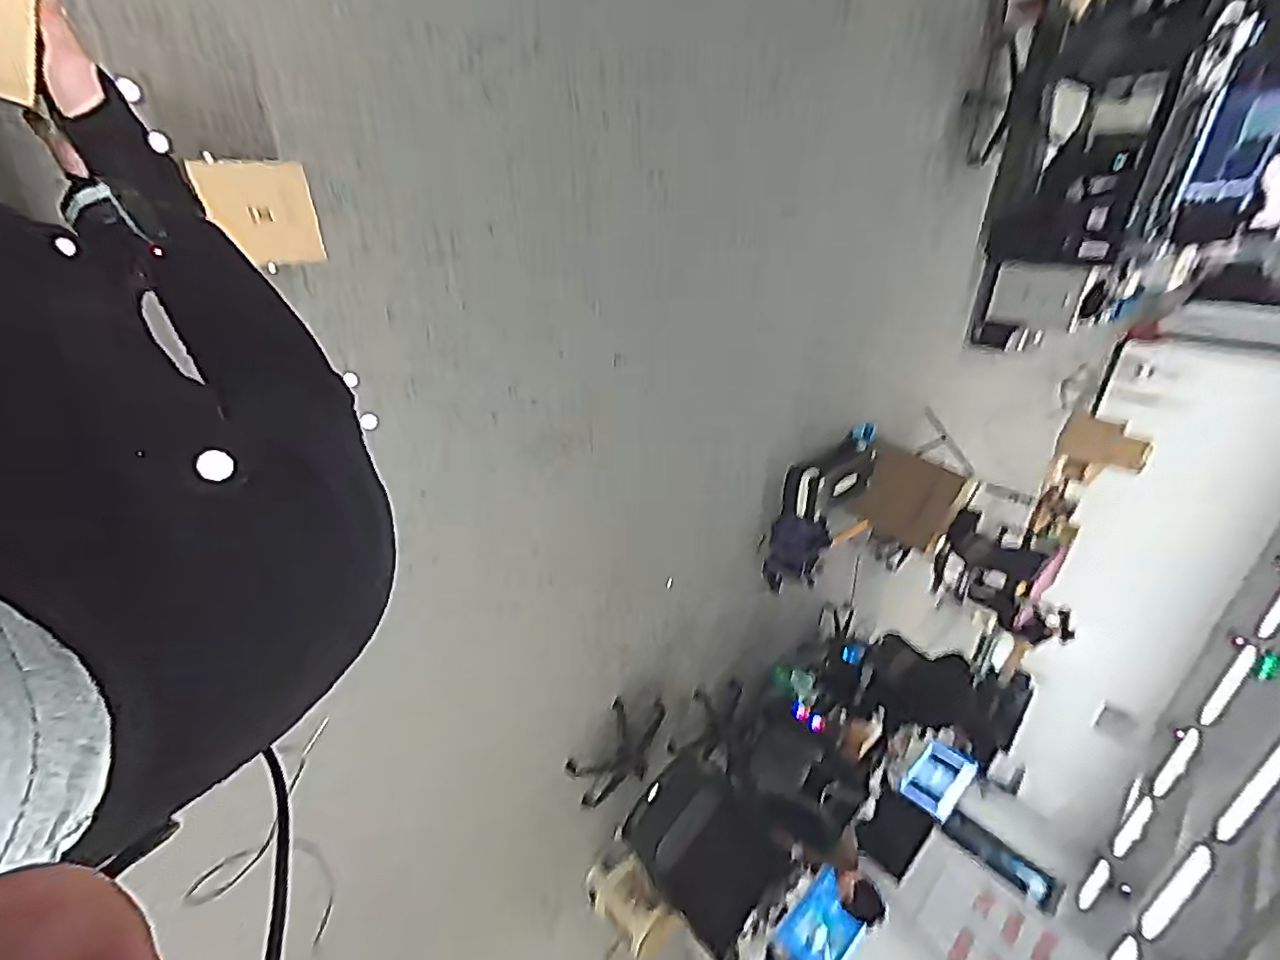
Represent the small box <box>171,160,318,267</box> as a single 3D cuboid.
[{"bbox_3d":[-0.736,-0.496,1.005,0.179,0.176,0.168,-24,127,-36],"label":"small box"}]
